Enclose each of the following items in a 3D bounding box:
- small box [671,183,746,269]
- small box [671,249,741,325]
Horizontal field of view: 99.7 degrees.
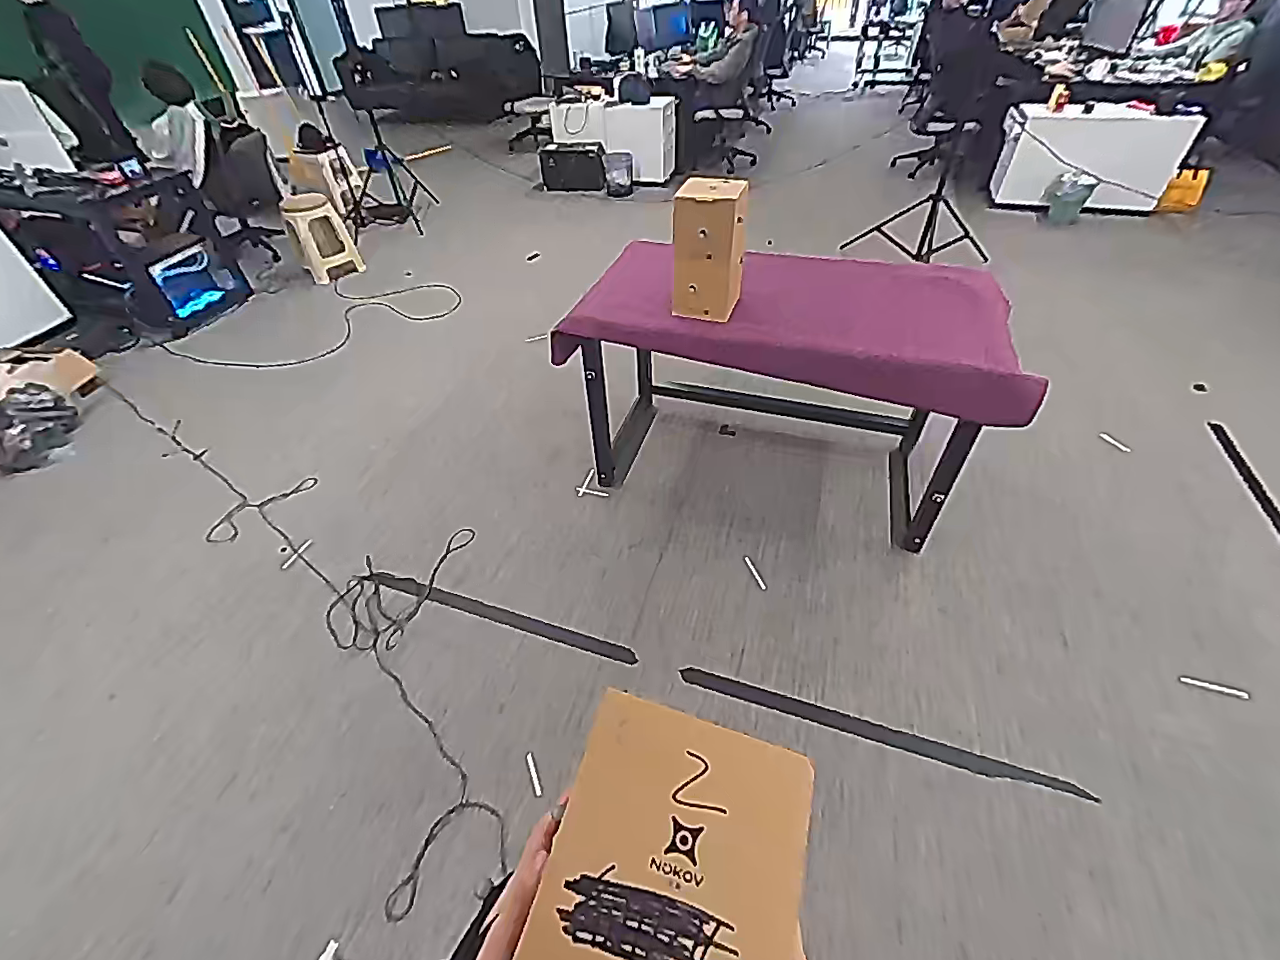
[{"bbox_3d":[0.188,-0.697,1.485,0.168,0.176,0.179,12,46,14],"label":"small box"},{"bbox_3d":[0.194,-0.575,1.595,0.168,0.176,0.179,13,45,15],"label":"small box"}]
